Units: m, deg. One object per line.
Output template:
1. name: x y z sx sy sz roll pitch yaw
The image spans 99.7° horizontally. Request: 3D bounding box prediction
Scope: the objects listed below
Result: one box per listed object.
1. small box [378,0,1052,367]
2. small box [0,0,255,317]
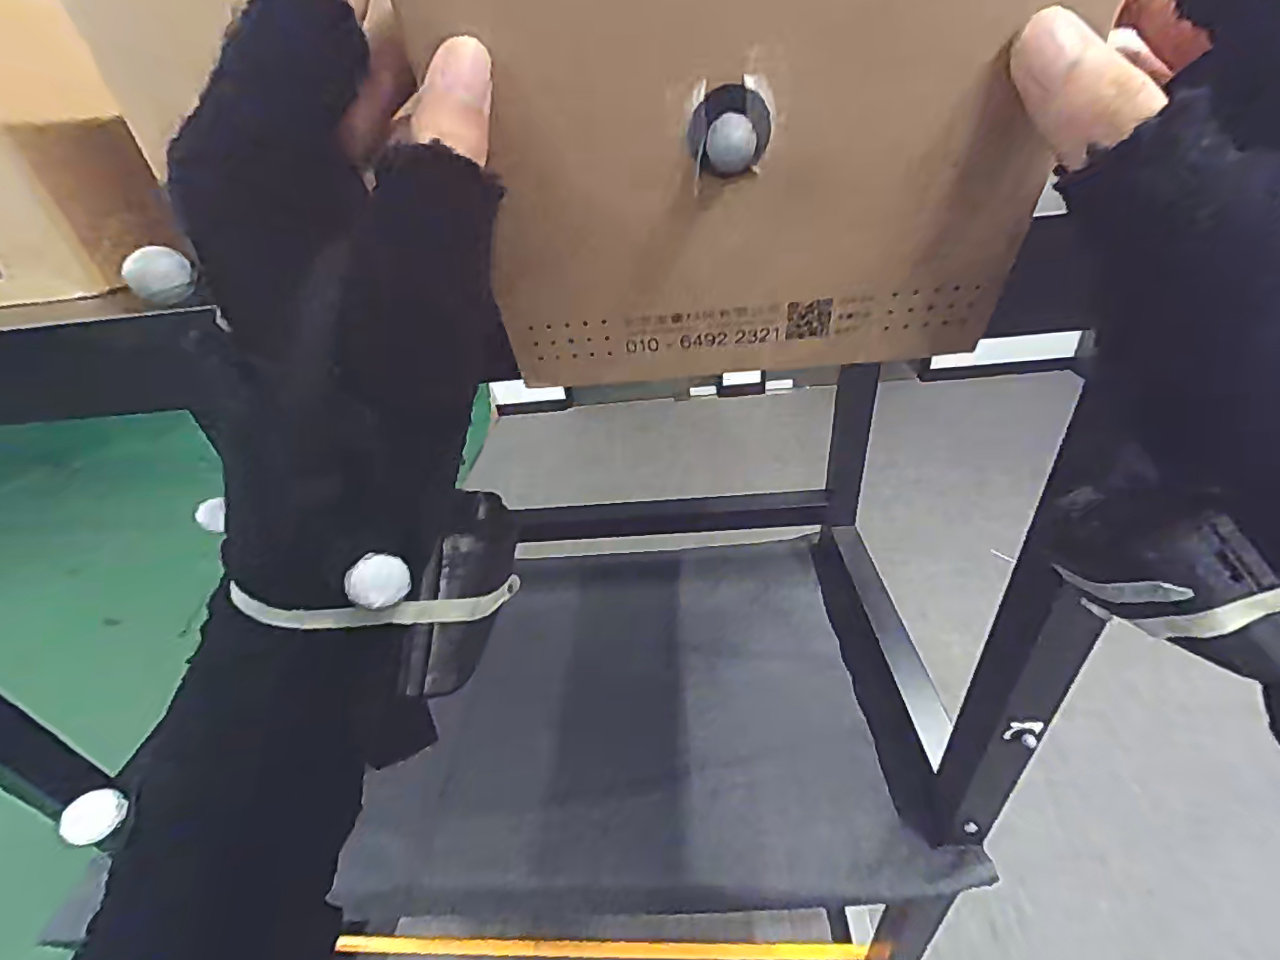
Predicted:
1. small box: 0.025 -0.155 0.199 0.168 0.176 0.179 -3 48 6
2. small box: -0.431 -0.221 0.385 0.168 0.176 0.179 -4 34 7
